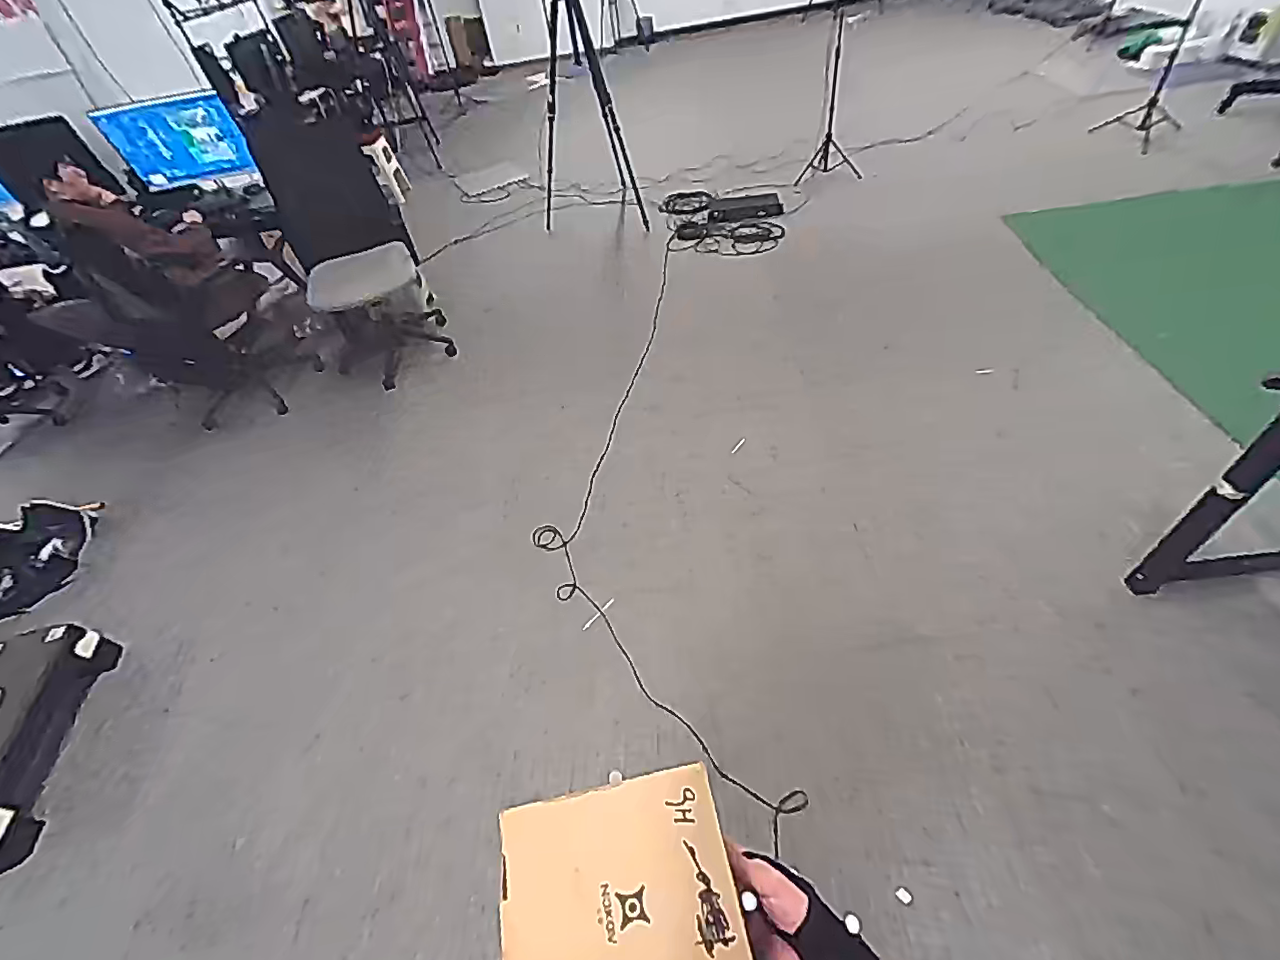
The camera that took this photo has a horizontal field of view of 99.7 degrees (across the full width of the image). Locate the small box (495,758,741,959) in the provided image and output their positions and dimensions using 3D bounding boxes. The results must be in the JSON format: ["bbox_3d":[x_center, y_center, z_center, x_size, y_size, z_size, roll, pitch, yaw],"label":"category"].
[{"bbox_3d":[-0.014,0.356,0.475,0.179,0.176,0.168,-12,59,-1],"label":"small box"}]
